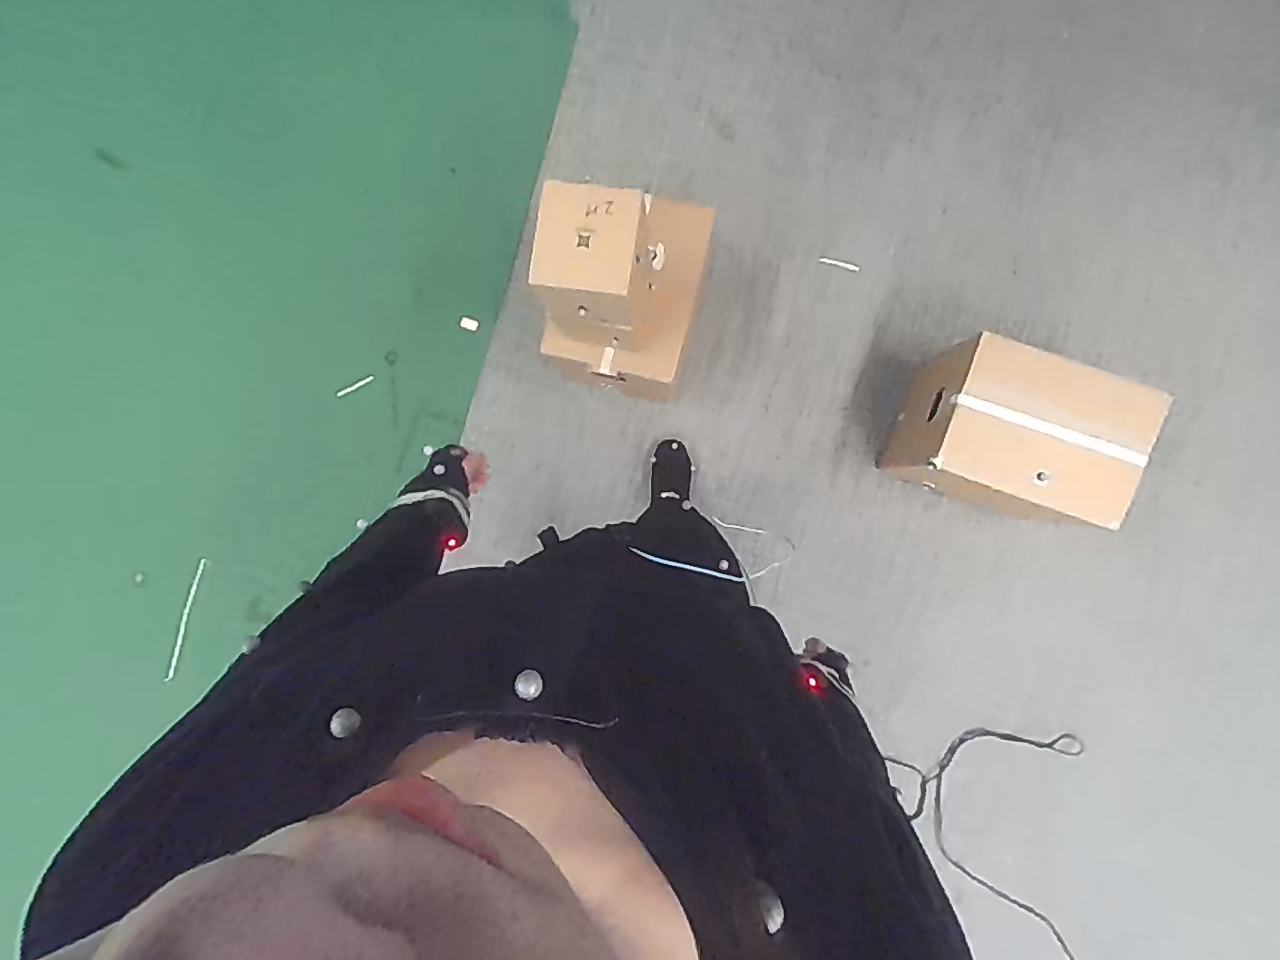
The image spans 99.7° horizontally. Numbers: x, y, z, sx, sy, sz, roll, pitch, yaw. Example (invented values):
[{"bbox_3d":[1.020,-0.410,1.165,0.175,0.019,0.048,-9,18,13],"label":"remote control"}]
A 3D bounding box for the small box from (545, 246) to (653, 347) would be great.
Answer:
[{"bbox_3d":[-0.074,-0.384,1.112,0.179,0.176,0.168,14,89,5],"label":"small box"}]

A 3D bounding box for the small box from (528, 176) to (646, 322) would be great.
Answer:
[{"bbox_3d":[-0.083,-0.392,0.947,0.168,0.176,0.179,10,89,3],"label":"small box"}]

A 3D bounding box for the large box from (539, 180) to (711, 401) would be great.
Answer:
[{"bbox_3d":[-0.024,-0.445,1.353,0.320,0.320,0.408,15,90,4],"label":"large box"}]
